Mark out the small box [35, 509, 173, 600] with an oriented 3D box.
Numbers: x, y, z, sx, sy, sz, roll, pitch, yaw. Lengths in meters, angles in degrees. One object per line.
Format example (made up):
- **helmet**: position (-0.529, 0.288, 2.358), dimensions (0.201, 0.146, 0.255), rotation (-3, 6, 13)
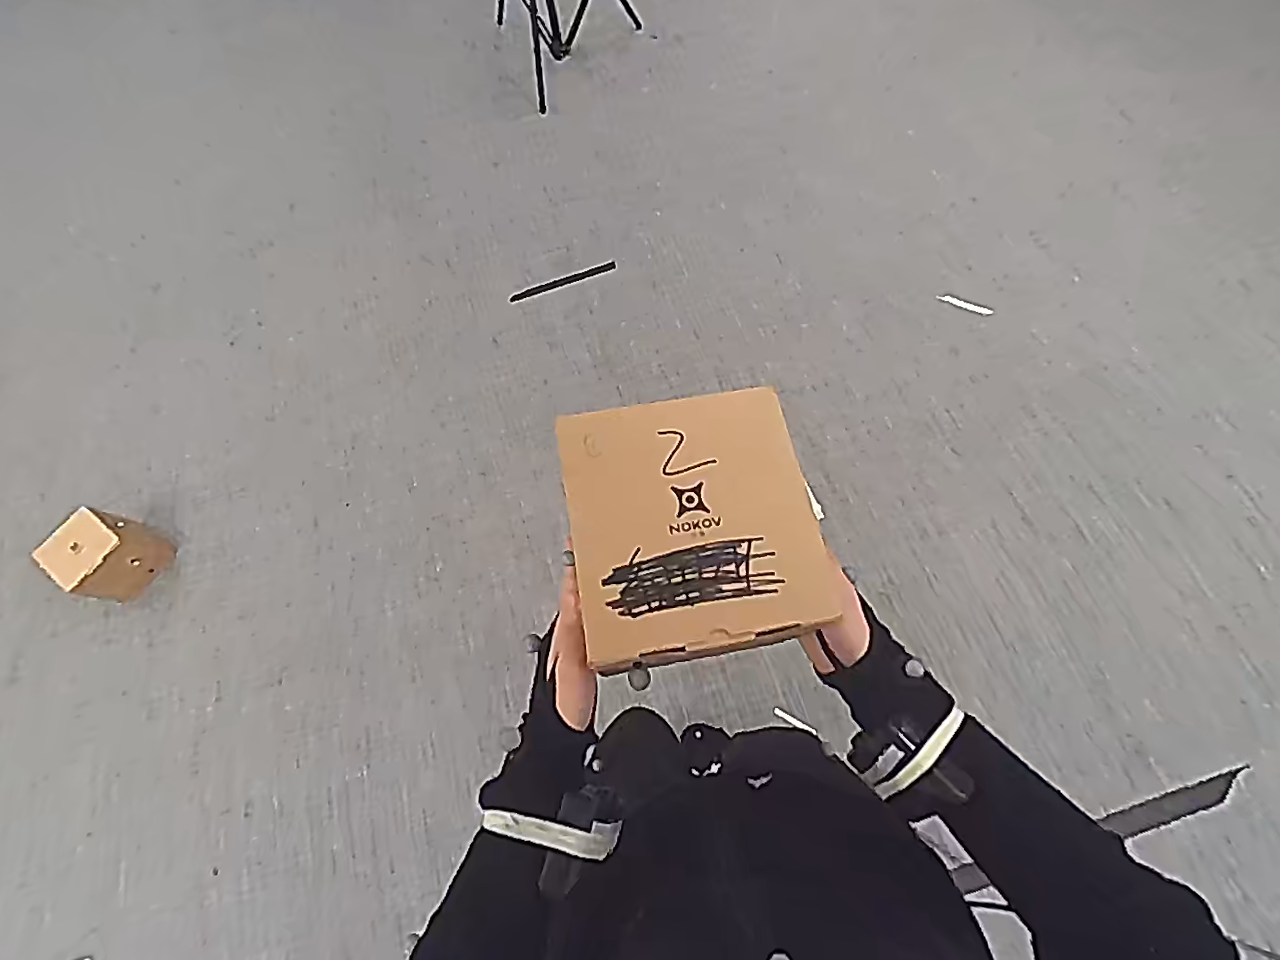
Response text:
- **small box**: position (-1.439, 0.209, 1.466), dimensions (0.179, 0.176, 0.168), rotation (31, 74, 16)
